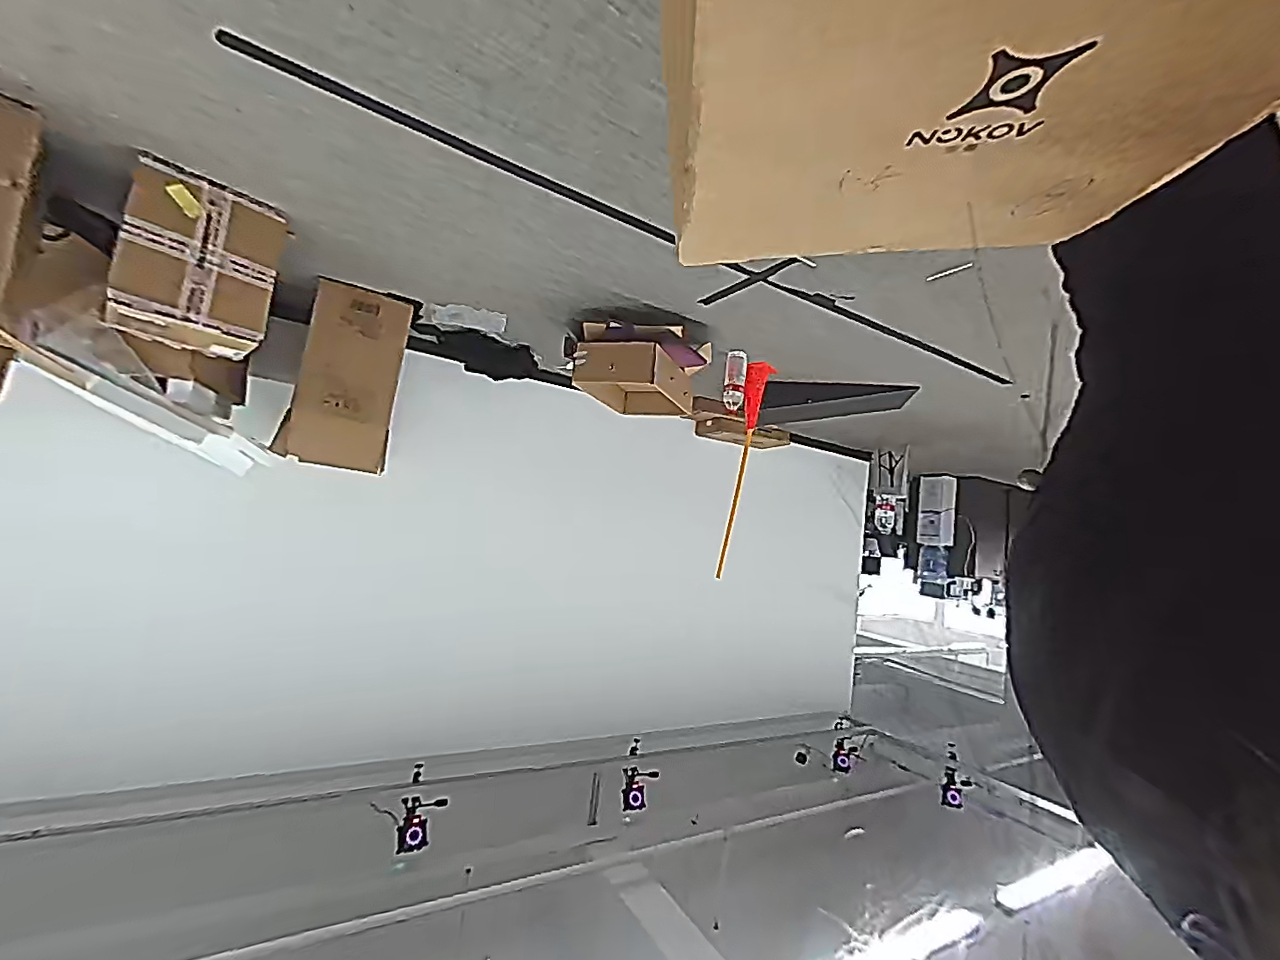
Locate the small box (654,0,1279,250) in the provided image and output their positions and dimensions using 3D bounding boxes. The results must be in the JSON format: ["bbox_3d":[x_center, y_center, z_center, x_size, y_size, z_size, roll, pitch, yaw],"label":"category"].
[{"bbox_3d":[0.086,-0.188,0.152,0.168,0.176,0.179,-4,179,2],"label":"small box"}]
